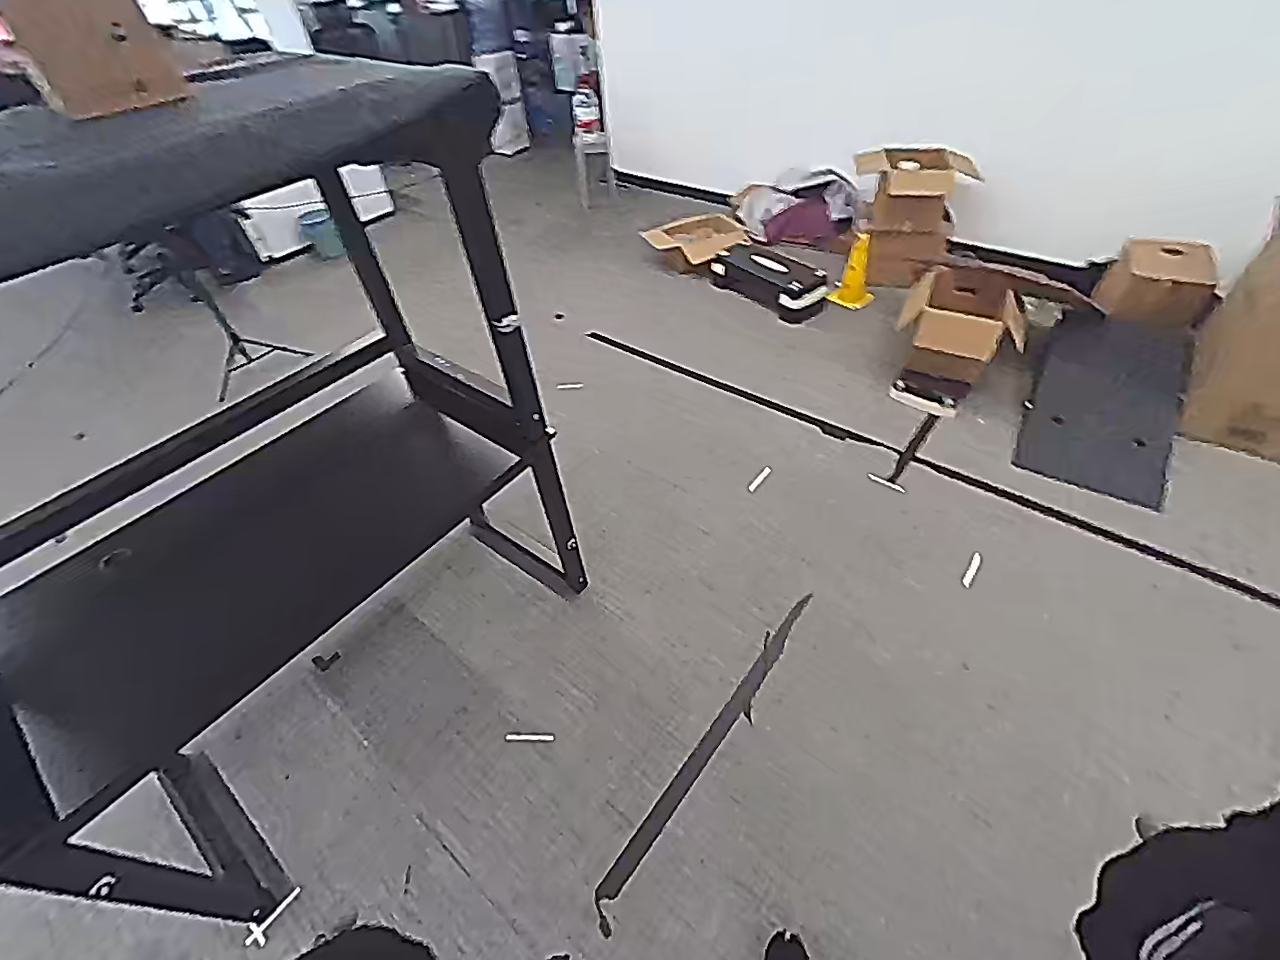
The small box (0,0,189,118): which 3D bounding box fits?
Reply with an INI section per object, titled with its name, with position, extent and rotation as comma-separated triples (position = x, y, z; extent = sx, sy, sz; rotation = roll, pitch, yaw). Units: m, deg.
[small box]
position = -0.828, -0.659, 0.807
extent = 0.179, 0.176, 0.168
rotation = 33, 57, 31
